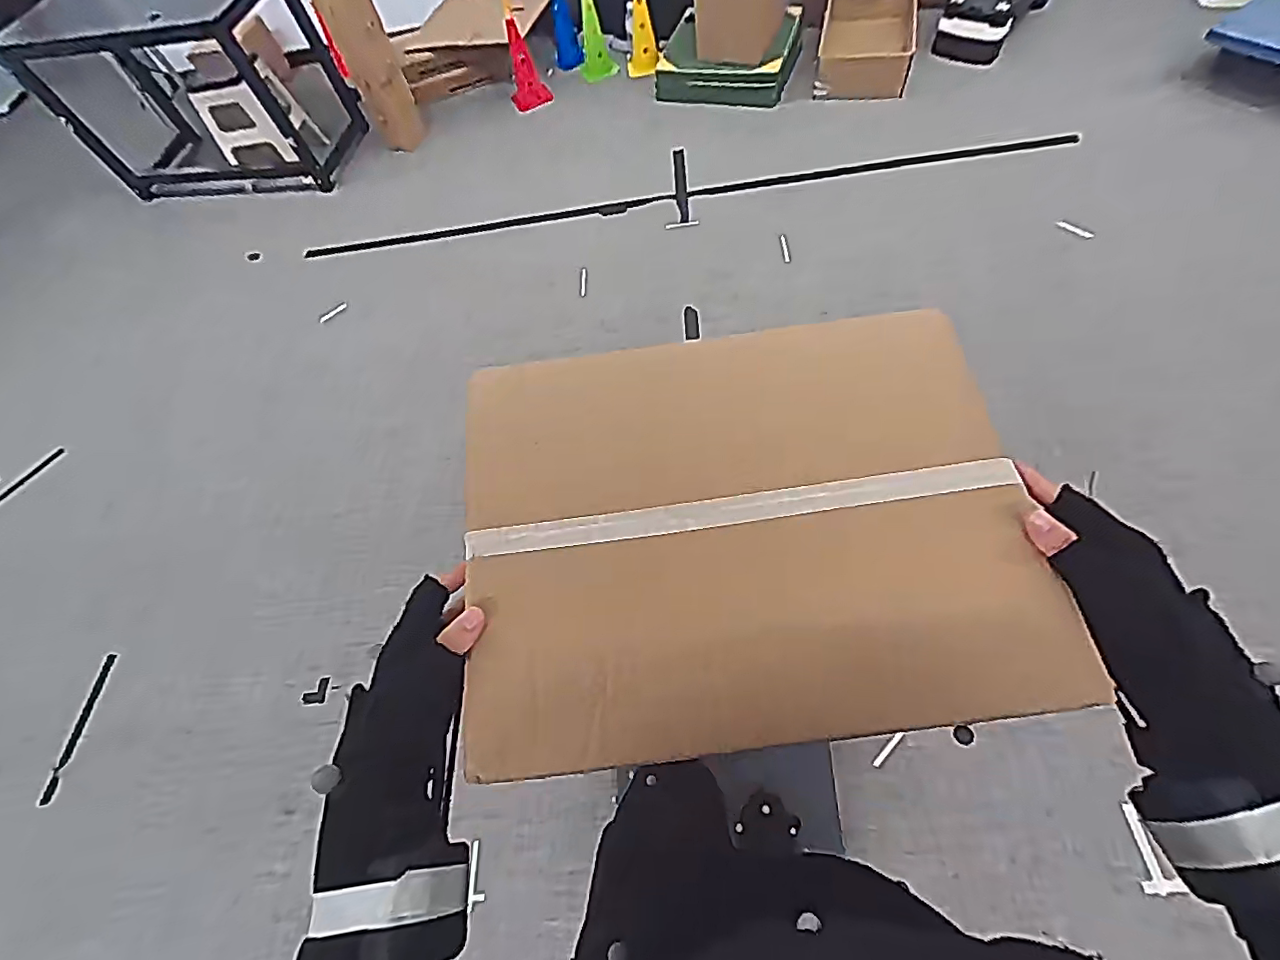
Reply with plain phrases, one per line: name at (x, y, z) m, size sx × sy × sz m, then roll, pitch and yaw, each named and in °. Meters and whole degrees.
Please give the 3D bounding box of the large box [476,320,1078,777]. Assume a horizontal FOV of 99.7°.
large box at (0.083, 0.084, 0.545) m, size 0.408 × 0.320 × 0.320 m, roll -7°, pitch 66°, yaw 0°
